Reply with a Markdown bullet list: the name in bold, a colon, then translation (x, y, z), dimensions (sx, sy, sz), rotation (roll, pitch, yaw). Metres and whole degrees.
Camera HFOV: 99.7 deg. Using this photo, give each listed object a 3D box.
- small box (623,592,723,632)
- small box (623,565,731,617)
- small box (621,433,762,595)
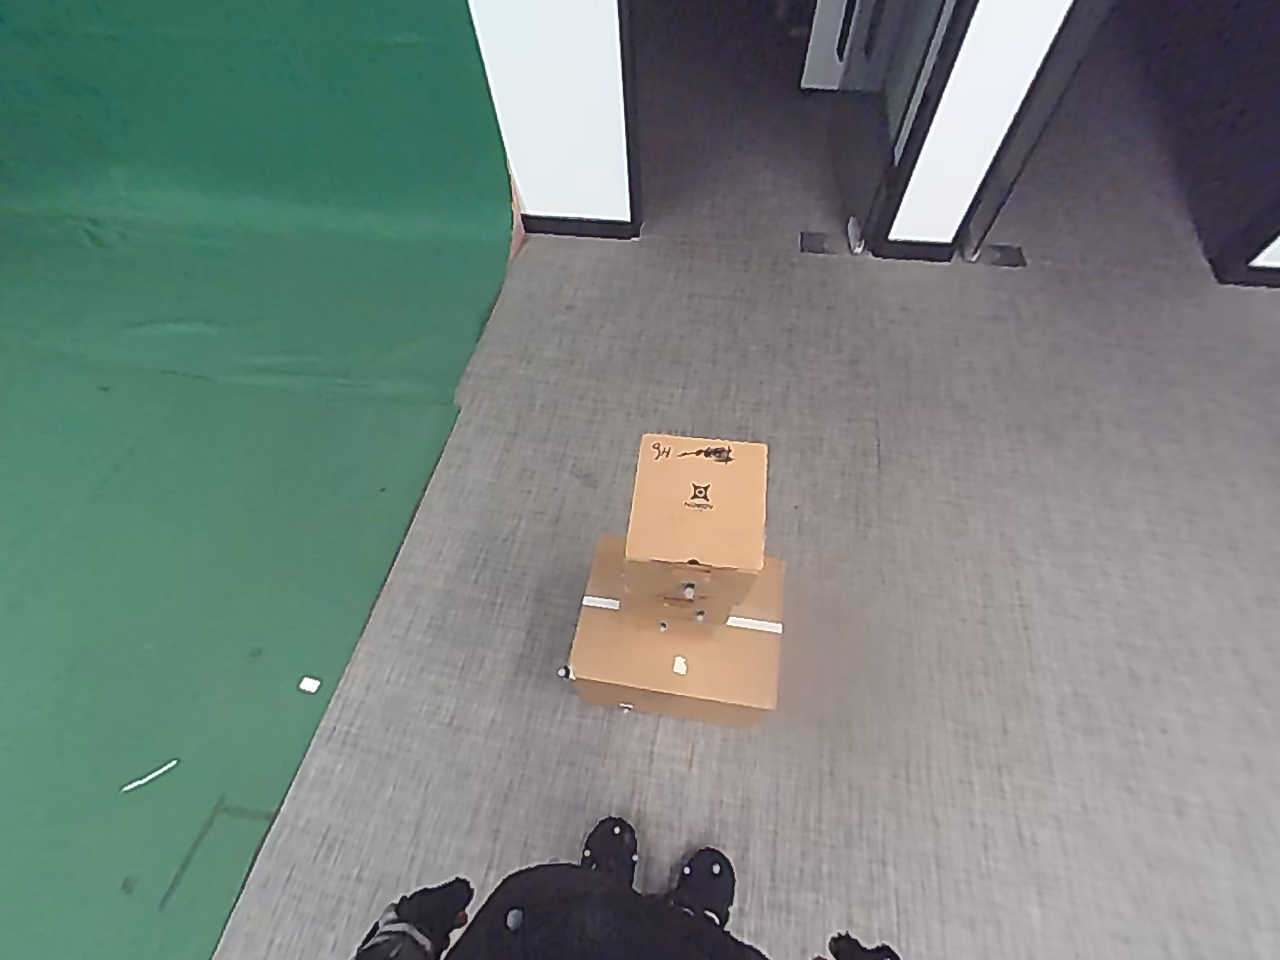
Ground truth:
- **small box**: translation (0.072, 0.192, 1.046), dimensions (0.179, 0.176, 0.168), rotation (7, 67, 7)
- **small box**: translation (0.069, 0.123, 0.900), dimensions (0.168, 0.176, 0.179), rotation (5, 65, 5)
- **small box**: translation (0.073, 0.055, 0.751), dimensions (0.168, 0.176, 0.179), rotation (5, 67, 6)
